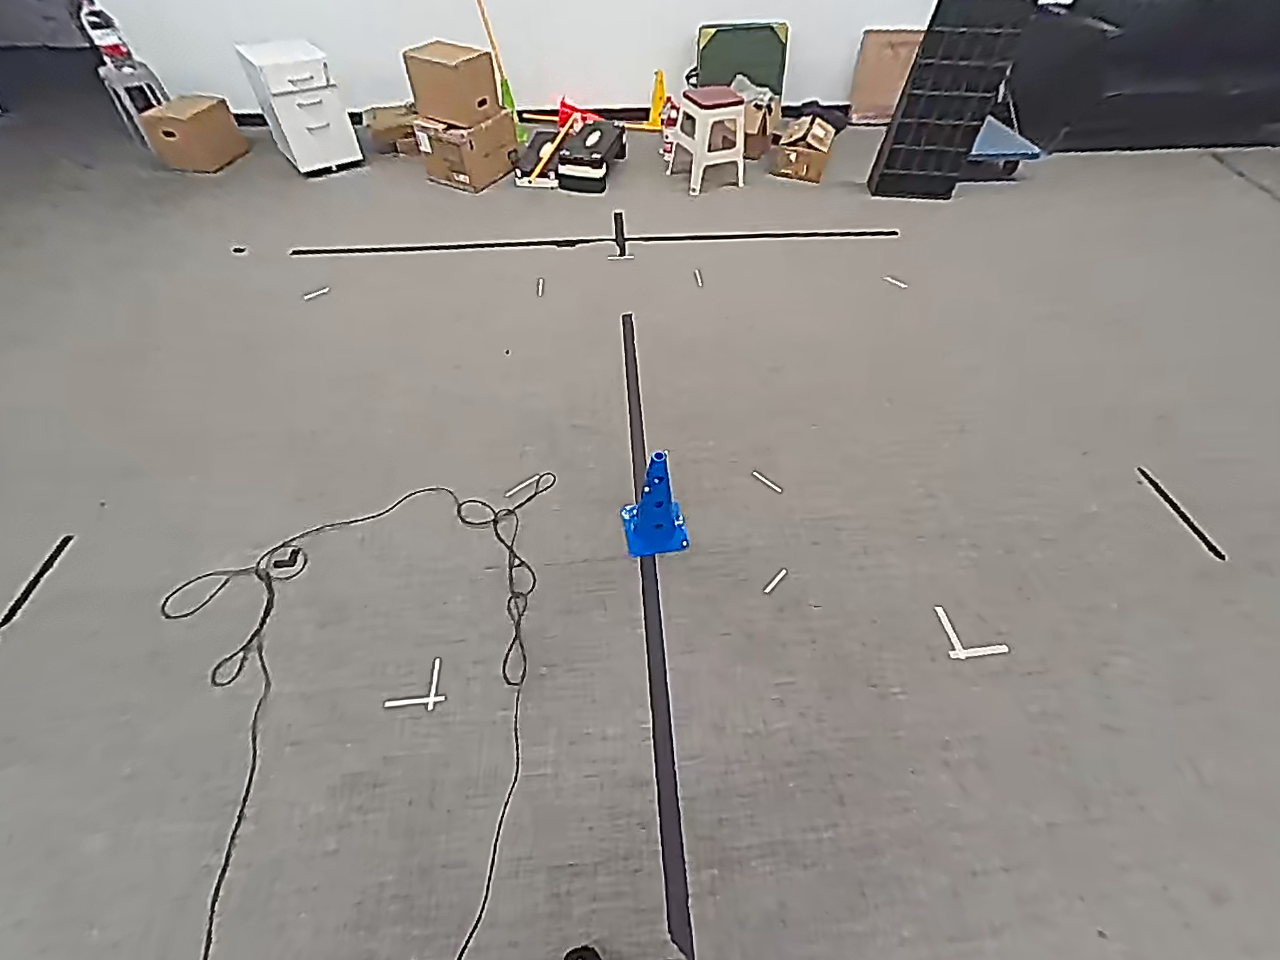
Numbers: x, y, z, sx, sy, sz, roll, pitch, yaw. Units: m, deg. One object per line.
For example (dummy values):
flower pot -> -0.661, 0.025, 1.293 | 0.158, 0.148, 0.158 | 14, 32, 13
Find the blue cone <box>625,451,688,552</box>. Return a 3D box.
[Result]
blue cone -> 0.055, 0.050, 1.657 | 0.192, 0.380, 0.193 | -4, 51, -6
